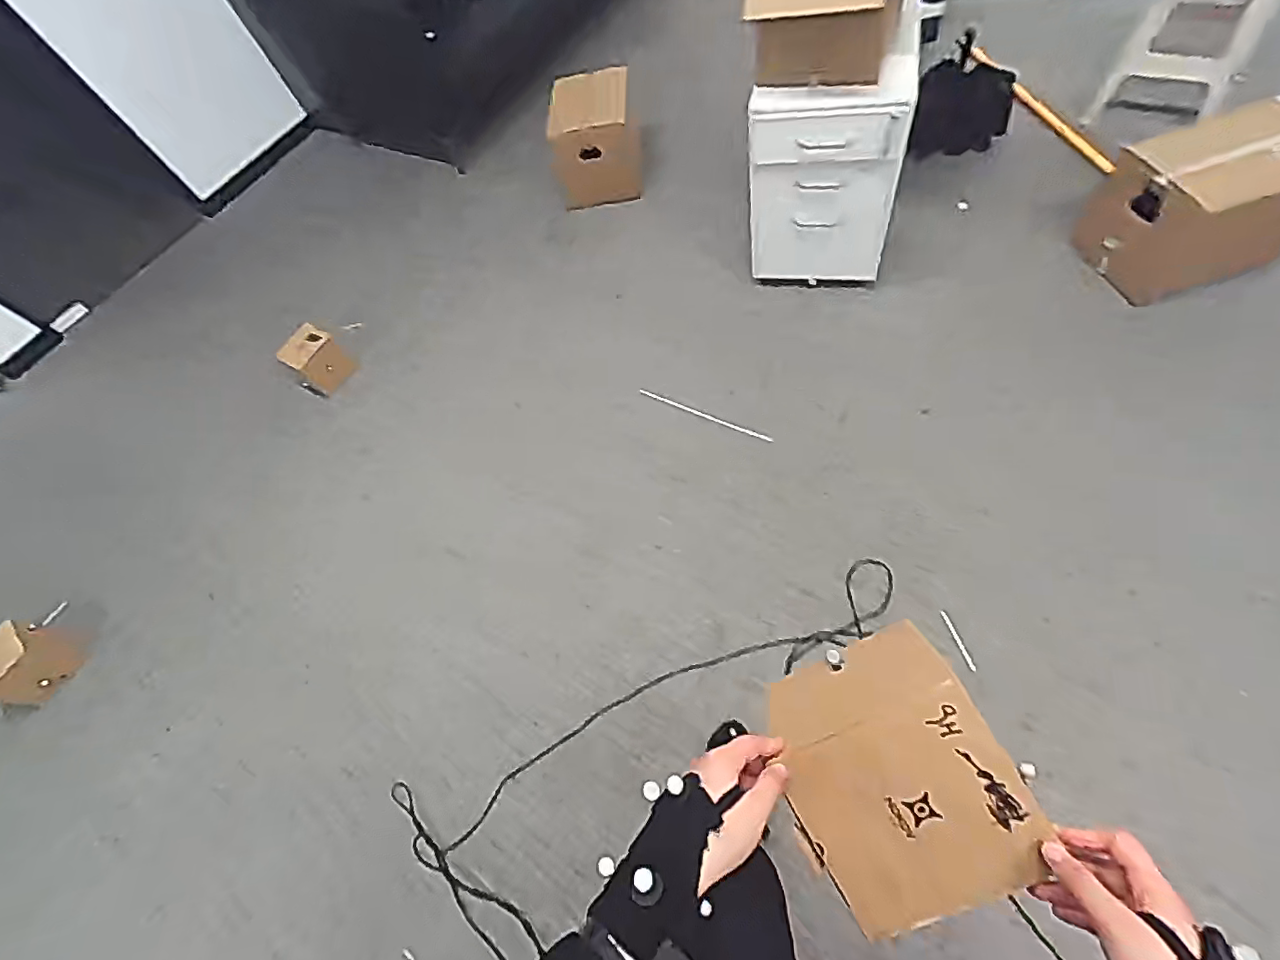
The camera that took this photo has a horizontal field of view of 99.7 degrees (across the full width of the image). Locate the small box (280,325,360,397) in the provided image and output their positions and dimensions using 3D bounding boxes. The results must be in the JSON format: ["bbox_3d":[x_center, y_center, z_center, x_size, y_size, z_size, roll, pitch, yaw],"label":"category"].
[{"bbox_3d":[-1.212,-0.453,2.071,0.168,0.176,0.179,27,71,24],"label":"small box"}]

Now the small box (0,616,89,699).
[{"bbox_3d":[-1.876,0.552,1.664,0.179,0.176,0.168,31,73,25],"label":"small box"}]
